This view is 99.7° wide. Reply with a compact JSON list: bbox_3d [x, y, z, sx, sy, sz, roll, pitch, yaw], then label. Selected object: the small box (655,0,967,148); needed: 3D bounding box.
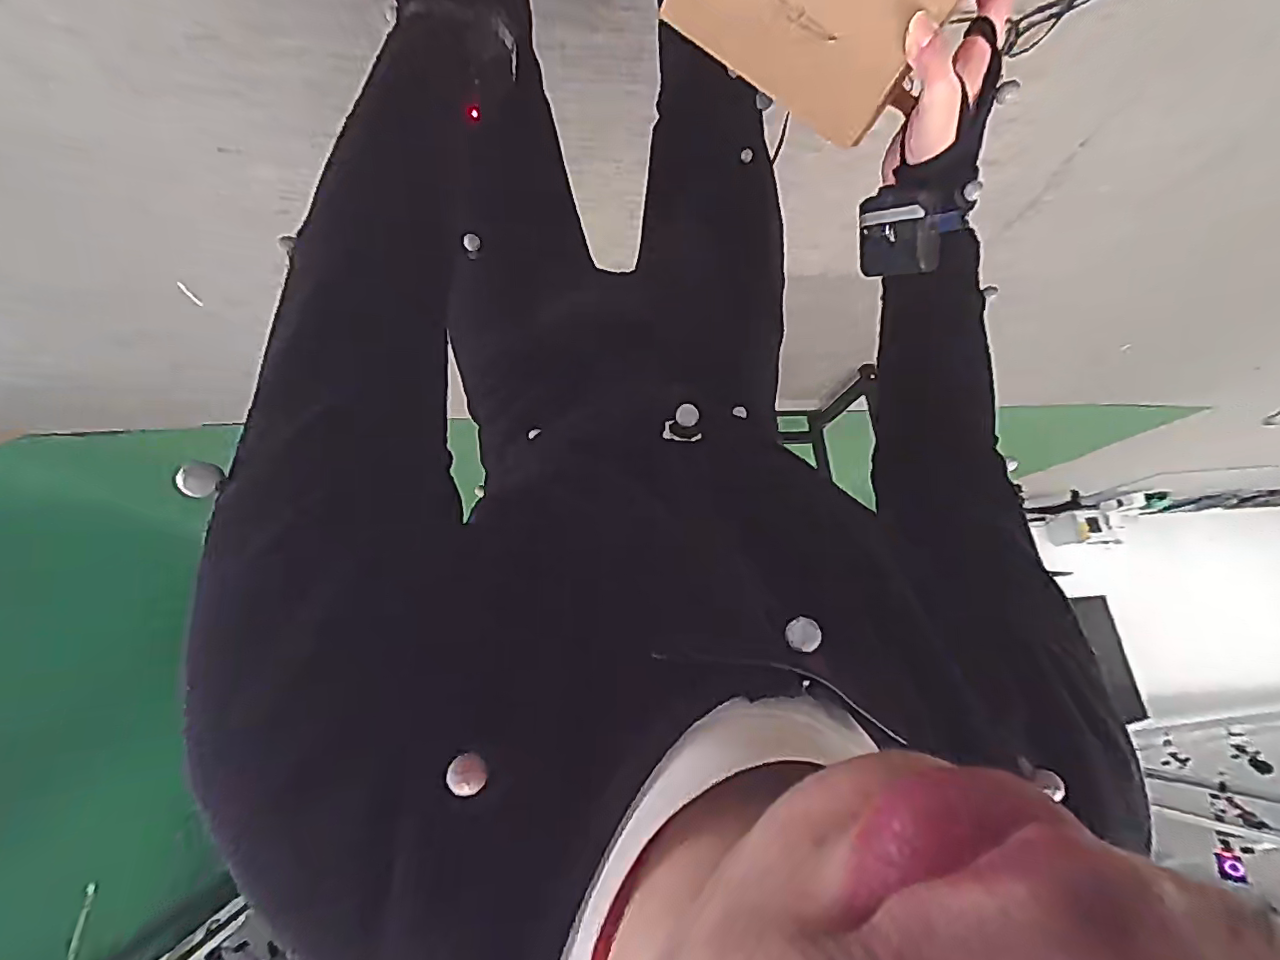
[{"bbox_3d":[0.142,-0.366,0.375,0.179,0.168,0.176,-52,179,38],"label":"small box"}]
